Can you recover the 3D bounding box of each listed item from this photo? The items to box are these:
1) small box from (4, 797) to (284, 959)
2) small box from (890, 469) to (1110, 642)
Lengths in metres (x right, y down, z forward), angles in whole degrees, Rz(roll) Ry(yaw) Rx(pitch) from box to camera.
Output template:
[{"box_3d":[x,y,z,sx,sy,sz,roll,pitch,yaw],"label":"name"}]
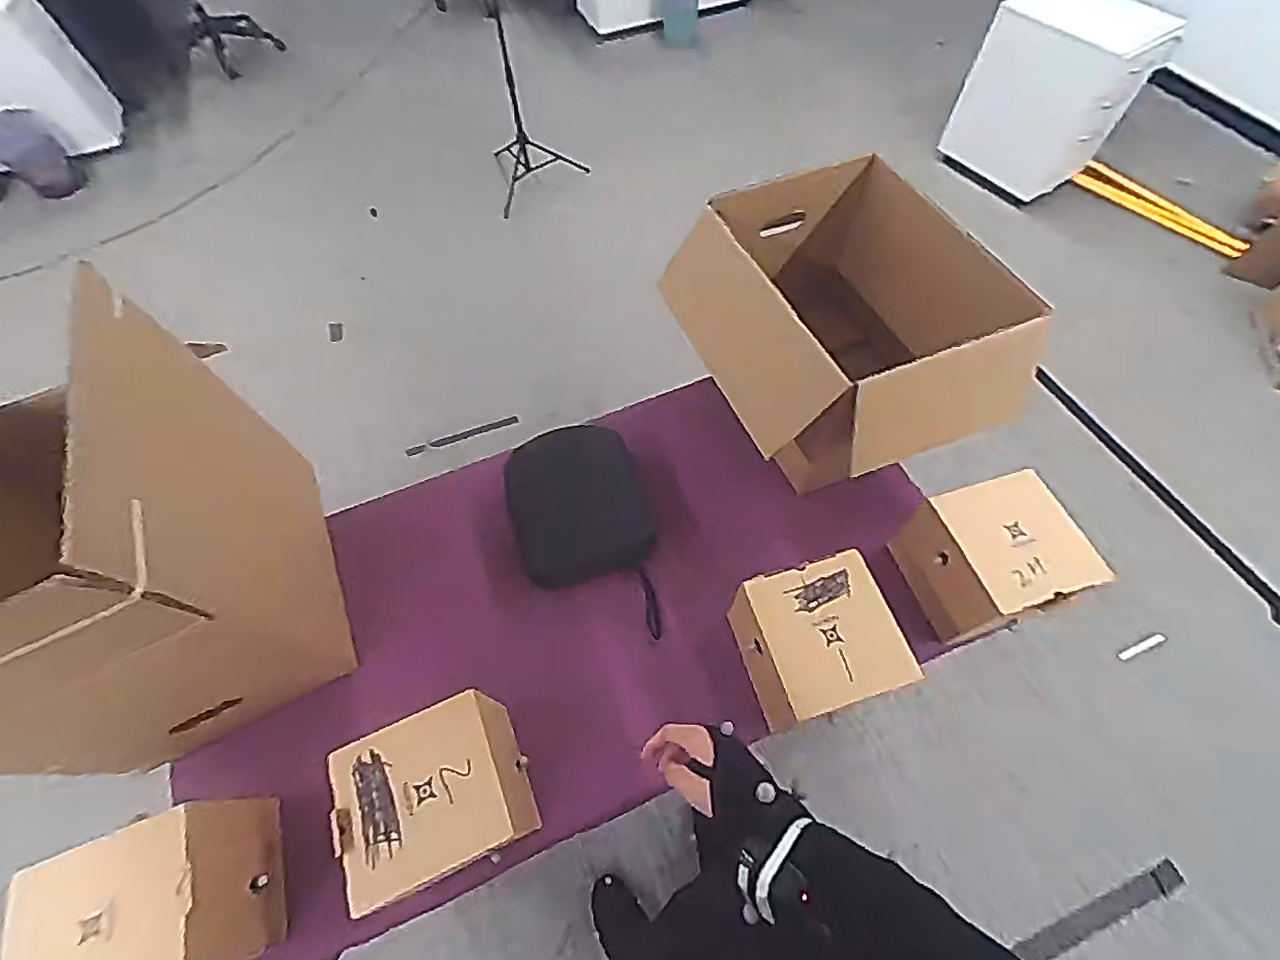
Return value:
[{"box_3d":[-0.550,0.487,0.619,0.179,0.176,0.168,-20,62,-10],"label":"small box"},{"box_3d":[0.500,0.114,0.788,0.168,0.176,0.179,-15,61,-6],"label":"small box"}]
